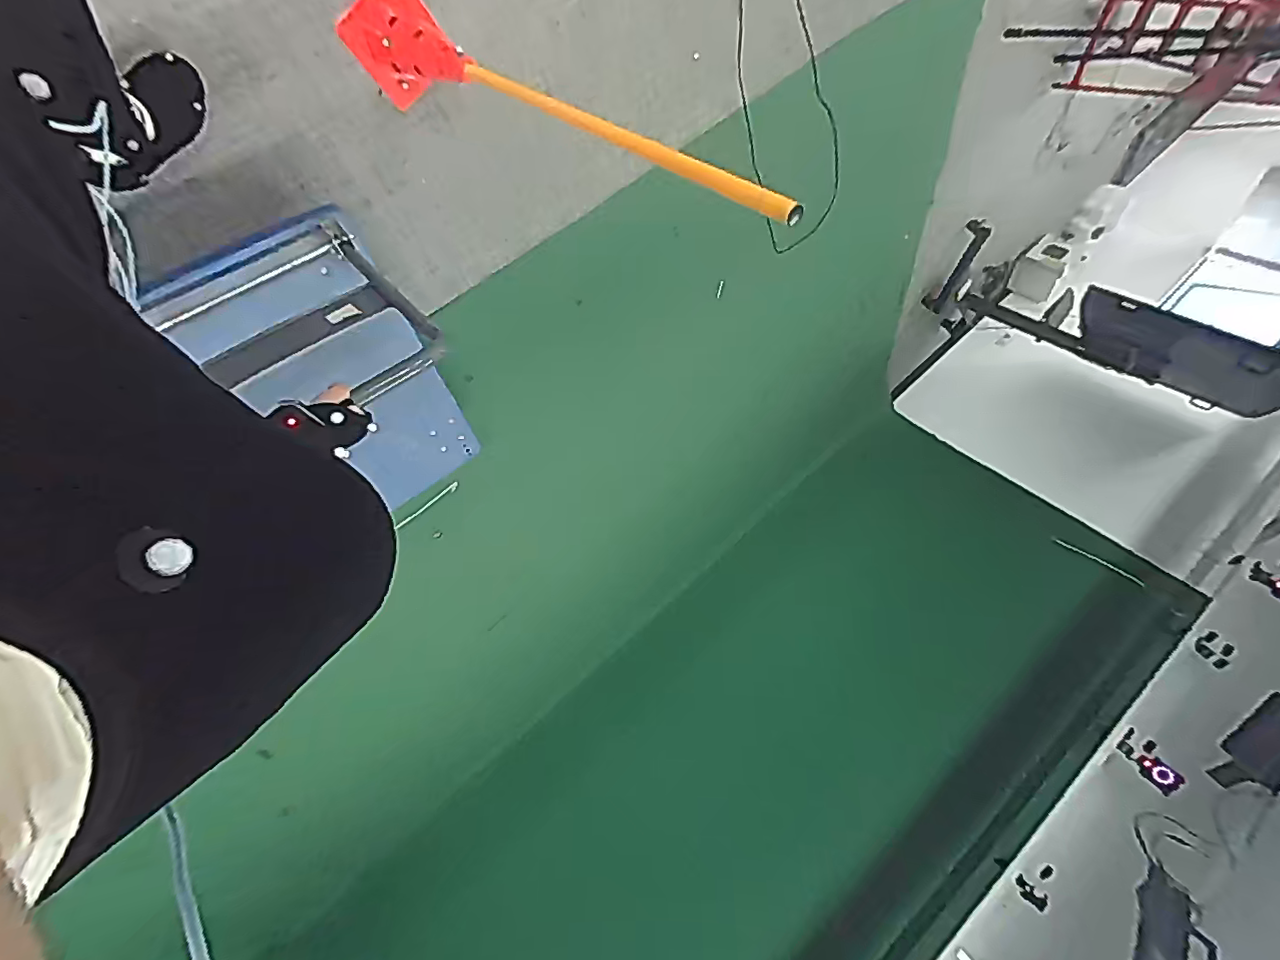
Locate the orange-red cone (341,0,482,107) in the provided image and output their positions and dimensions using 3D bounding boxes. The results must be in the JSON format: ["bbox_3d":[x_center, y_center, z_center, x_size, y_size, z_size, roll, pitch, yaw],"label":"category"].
[{"bbox_3d":[-0.438,-0.904,1.146,0.199,0.360,0.198,-48,149,-1],"label":"orange-red cone"}]
